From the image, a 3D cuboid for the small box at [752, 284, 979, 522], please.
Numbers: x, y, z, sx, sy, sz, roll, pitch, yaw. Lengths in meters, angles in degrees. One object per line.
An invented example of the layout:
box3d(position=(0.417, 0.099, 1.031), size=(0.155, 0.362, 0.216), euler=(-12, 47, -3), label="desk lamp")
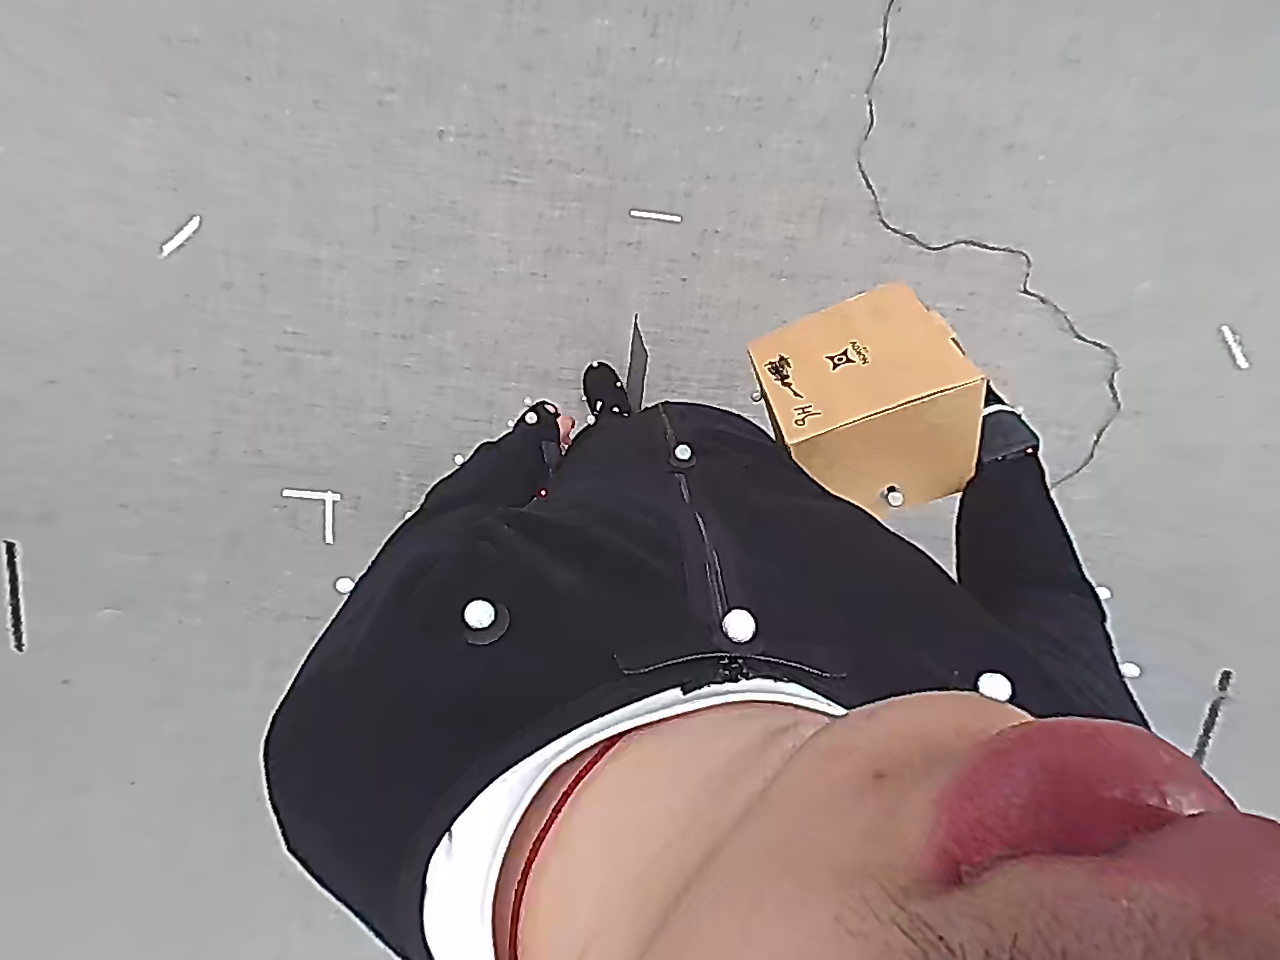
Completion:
box3d(position=(0.243, -0.079, 0.609), size=(0.179, 0.168, 0.176), euler=(-19, 137, 12), label="small box")
